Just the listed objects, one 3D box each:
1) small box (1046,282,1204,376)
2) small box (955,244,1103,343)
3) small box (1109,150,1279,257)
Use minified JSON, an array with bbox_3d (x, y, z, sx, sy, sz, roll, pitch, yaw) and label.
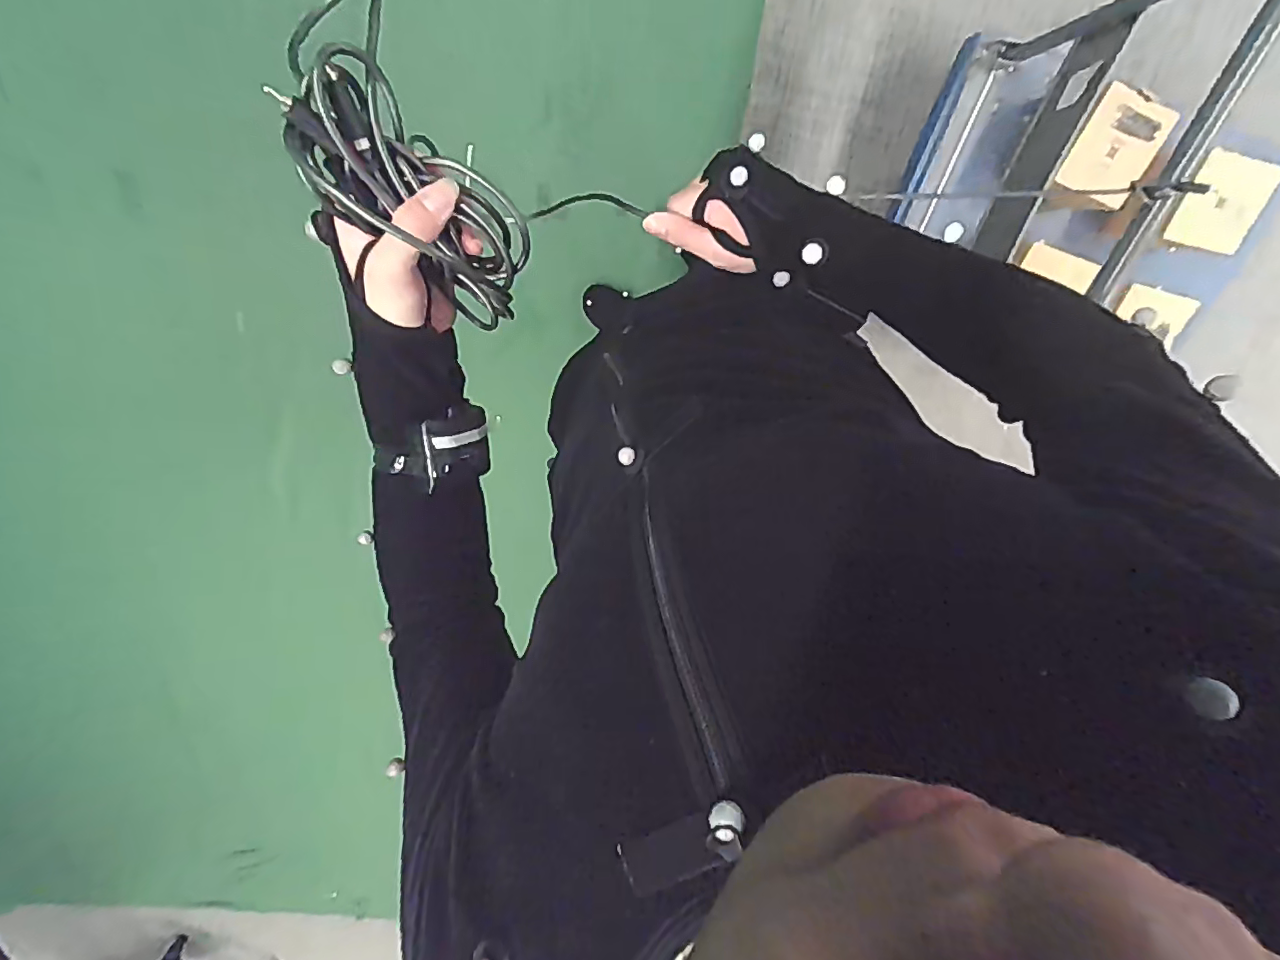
[{"bbox_3d":[1.123,-0.361,1.269,0.179,0.176,0.168,12,114,-6],"label":"small box"},{"bbox_3d":[0.871,-0.430,1.231,0.179,0.176,0.168,15,114,-7],"label":"small box"},{"bbox_3d":[1.181,-0.587,1.161,0.179,0.176,0.168,10,116,-6],"label":"small box"}]
